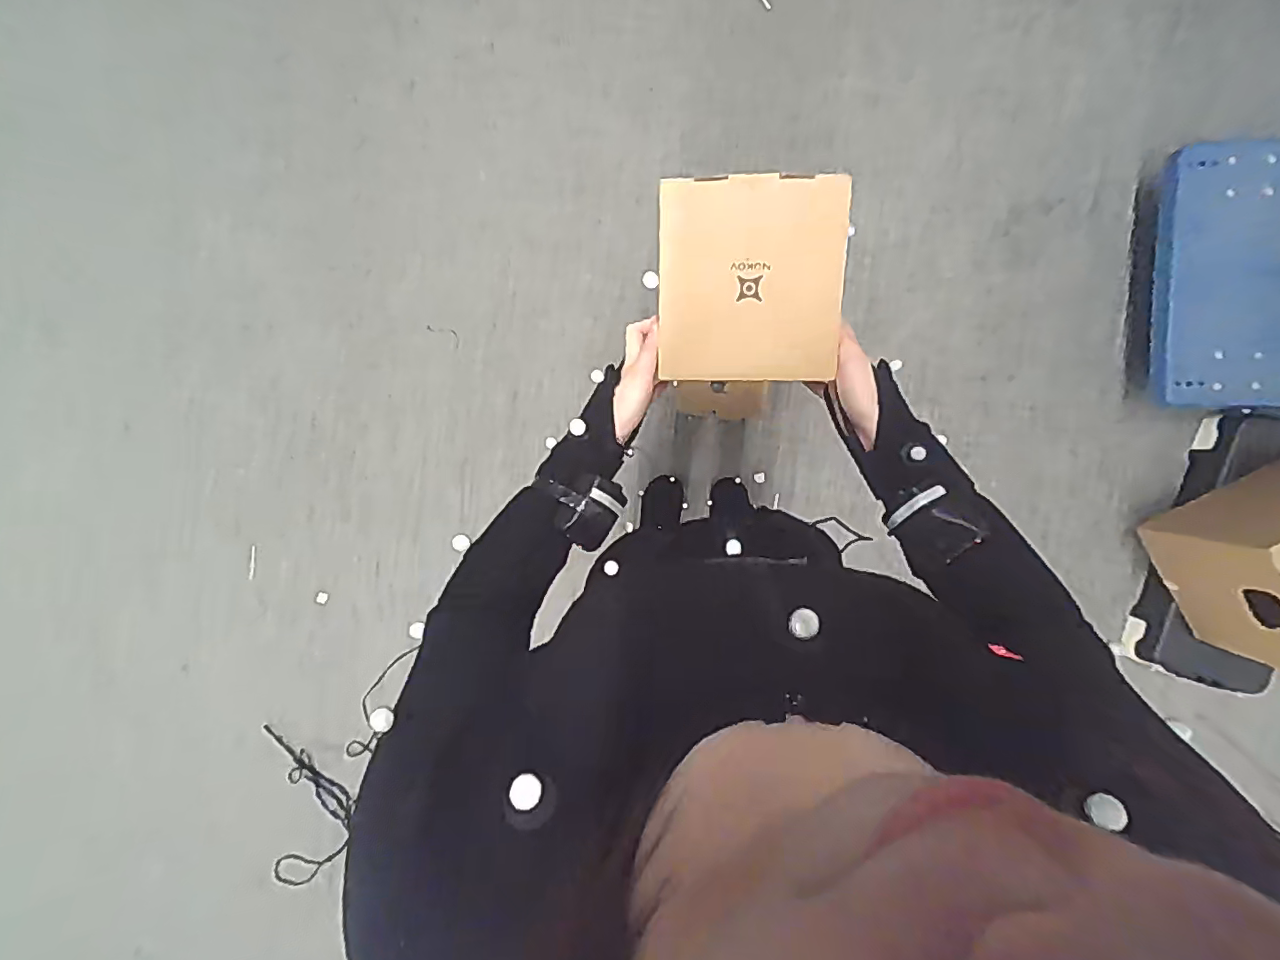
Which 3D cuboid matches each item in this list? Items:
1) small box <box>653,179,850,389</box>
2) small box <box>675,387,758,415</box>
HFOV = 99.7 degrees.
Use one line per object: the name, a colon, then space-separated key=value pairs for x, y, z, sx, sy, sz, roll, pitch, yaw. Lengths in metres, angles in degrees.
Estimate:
small box: x=0.102 y=-0.188 z=0.556 sx=0.168 sy=0.176 sz=0.179 roll=1 pitch=102 yaw=5
small box: x=0.179 y=-0.244 z=1.235 sx=0.179 sy=0.176 sz=0.168 roll=9 pitch=94 yaw=4
